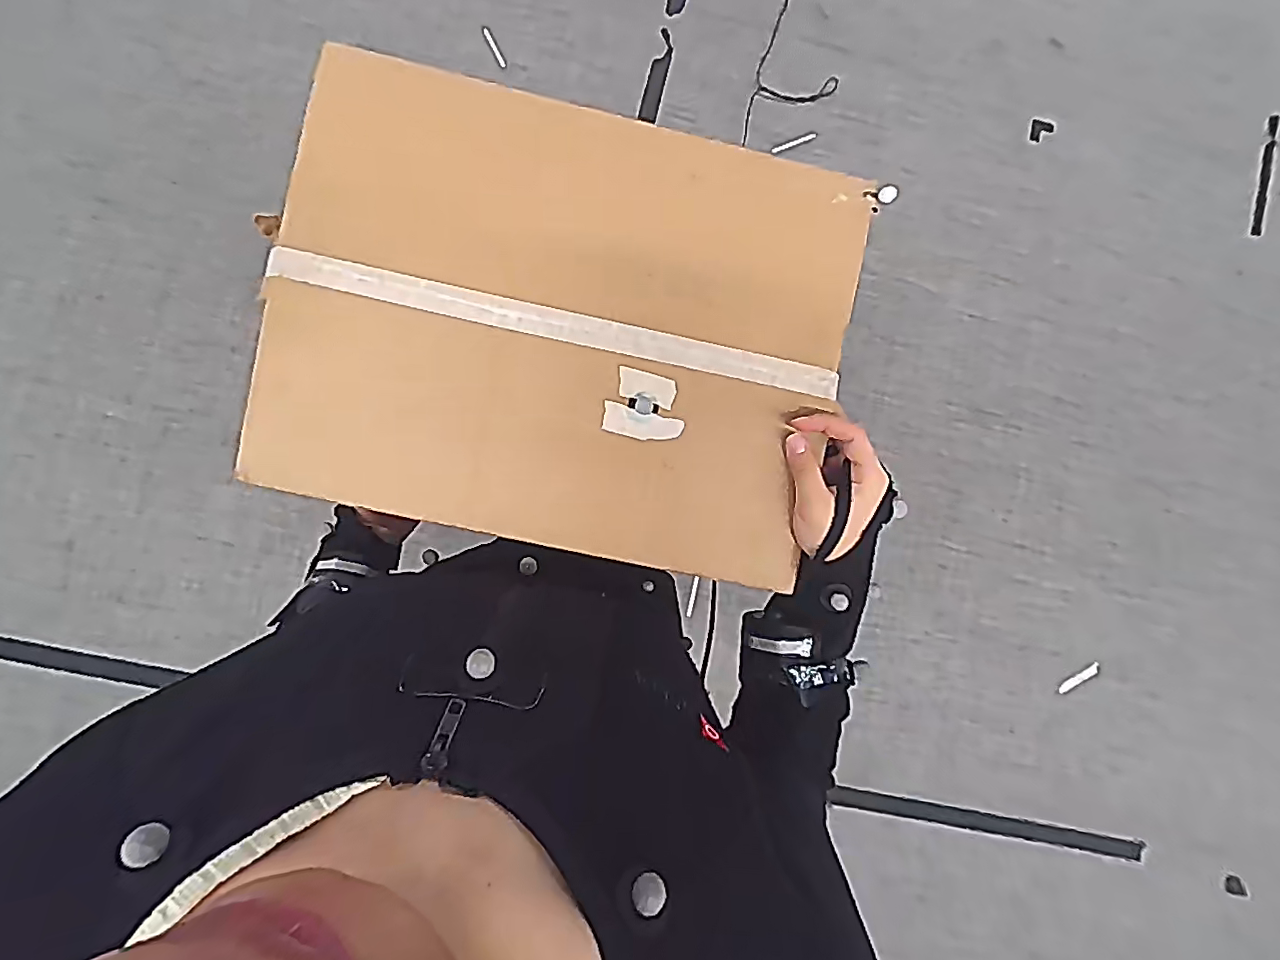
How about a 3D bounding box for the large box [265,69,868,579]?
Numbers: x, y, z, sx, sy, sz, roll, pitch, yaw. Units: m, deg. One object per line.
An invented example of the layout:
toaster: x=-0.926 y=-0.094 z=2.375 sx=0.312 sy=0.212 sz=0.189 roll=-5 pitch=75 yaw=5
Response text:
large box: x=-0.059 y=-0.110 z=0.545 sx=0.408 sy=0.320 sz=0.320 roll=11 pitch=91 yaw=-5
